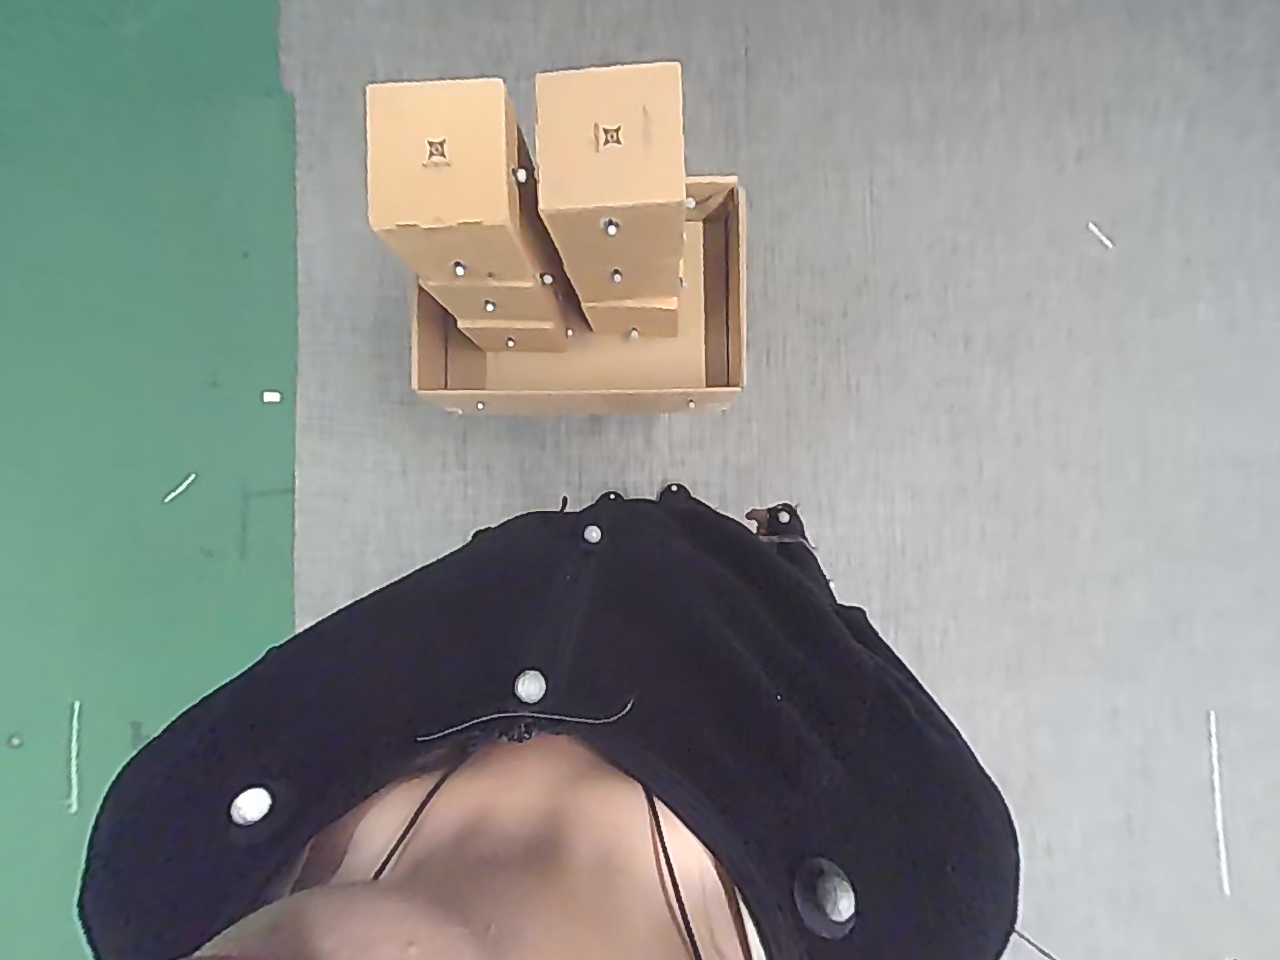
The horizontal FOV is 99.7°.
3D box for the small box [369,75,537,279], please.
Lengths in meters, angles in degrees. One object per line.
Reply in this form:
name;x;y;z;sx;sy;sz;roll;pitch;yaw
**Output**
small box;-0.235;-0.386;0.714;0.168;0.176;0.179;-2;88;1
